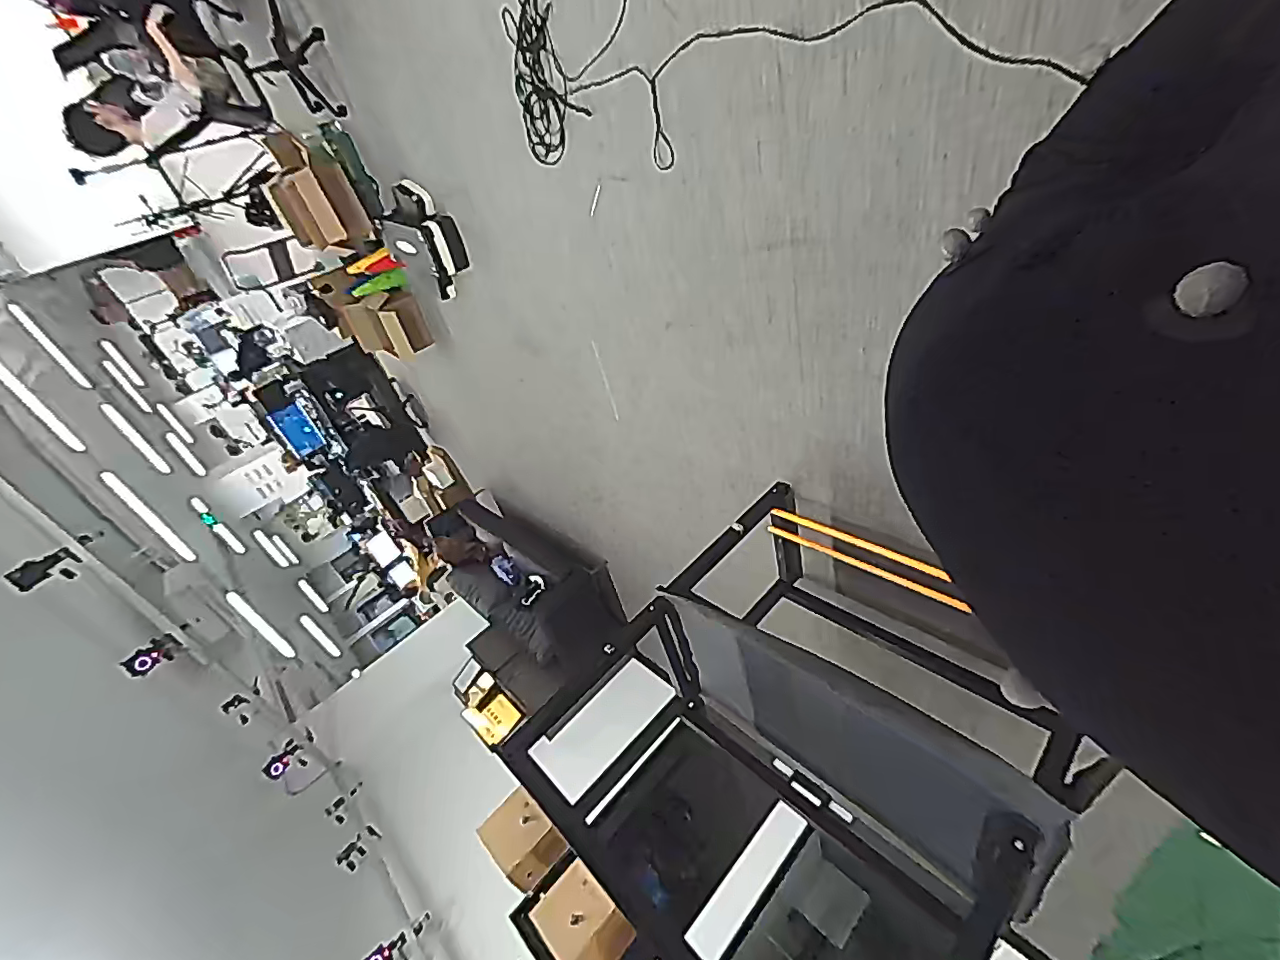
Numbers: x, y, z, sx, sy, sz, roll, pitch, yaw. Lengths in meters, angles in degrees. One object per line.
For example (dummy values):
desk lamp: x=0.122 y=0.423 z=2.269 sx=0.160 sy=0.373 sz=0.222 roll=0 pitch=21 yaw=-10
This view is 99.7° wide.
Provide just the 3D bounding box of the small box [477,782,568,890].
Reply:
small box: x=-0.331 y=1.023 z=1.561 sx=0.168 sy=0.176 sz=0.179 roll=26 pitch=143 yaw=39

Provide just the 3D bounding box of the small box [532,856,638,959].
small box: x=-0.134 y=1.099 z=1.357 sx=0.168 sy=0.176 sz=0.179 roll=18 pitch=139 yaw=47
